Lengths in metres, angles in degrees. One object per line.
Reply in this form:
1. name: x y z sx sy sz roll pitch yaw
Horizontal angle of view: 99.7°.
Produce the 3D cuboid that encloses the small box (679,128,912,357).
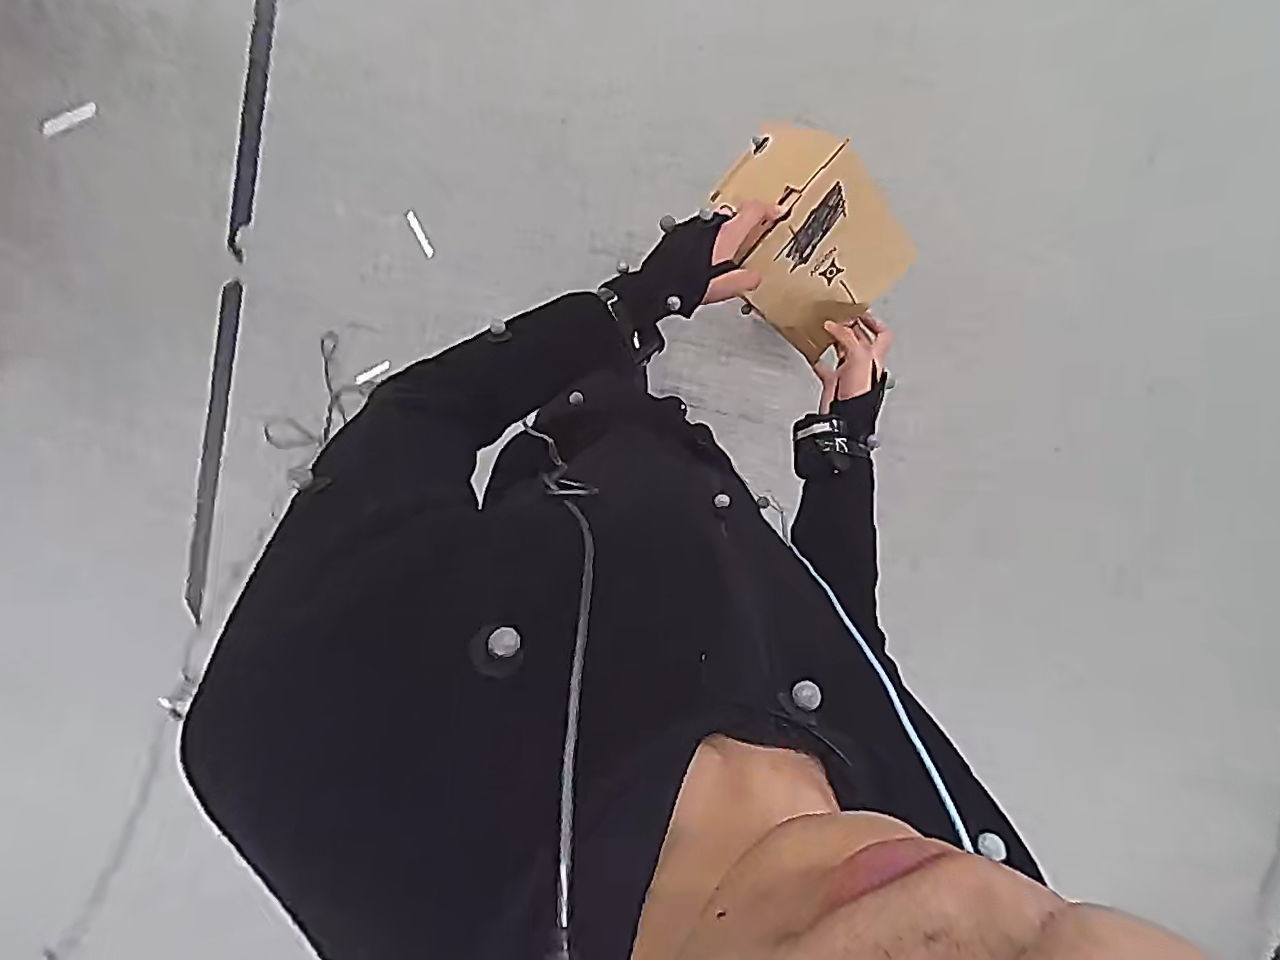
1. small box: 0.175 -0.287 0.649 0.179 0.176 0.168 28 114 -37
